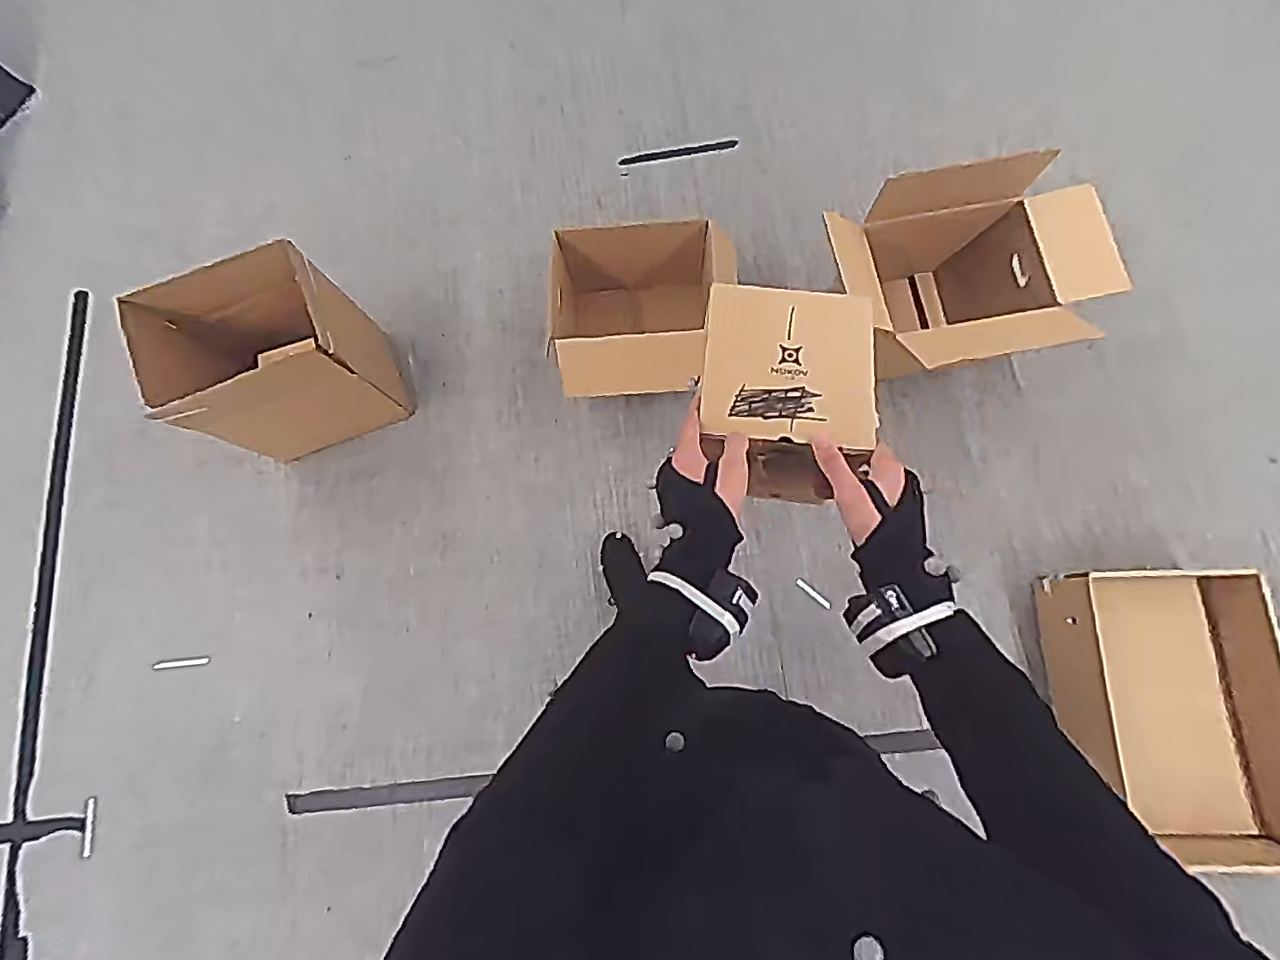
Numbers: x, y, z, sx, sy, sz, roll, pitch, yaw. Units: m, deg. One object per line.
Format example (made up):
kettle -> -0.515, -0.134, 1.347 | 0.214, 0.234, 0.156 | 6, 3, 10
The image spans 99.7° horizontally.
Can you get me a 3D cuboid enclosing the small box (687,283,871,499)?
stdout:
small box -> 0.144, -0.088, 0.603 | 0.168, 0.176, 0.179 | 6, 70, 3
